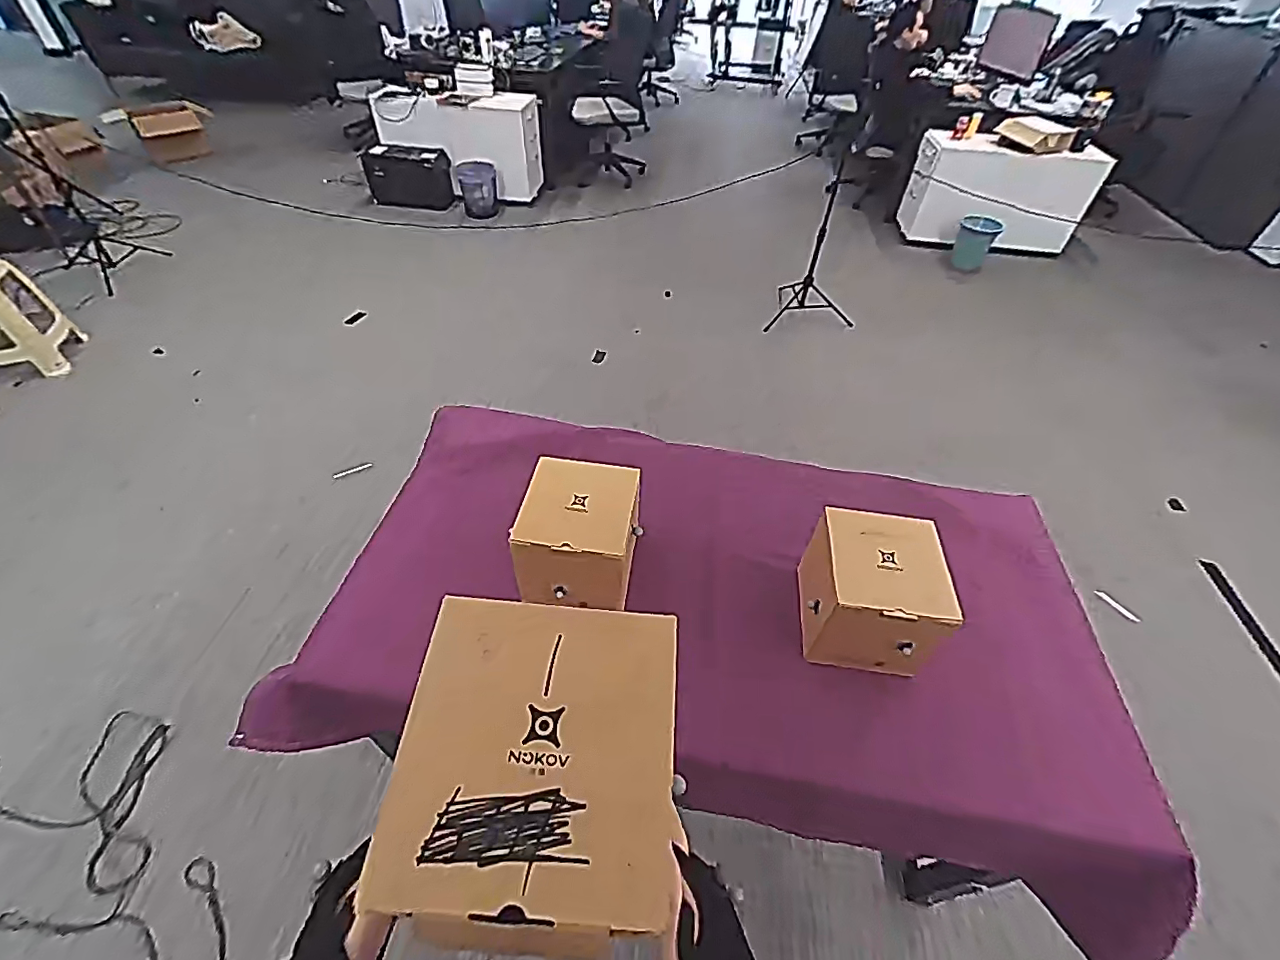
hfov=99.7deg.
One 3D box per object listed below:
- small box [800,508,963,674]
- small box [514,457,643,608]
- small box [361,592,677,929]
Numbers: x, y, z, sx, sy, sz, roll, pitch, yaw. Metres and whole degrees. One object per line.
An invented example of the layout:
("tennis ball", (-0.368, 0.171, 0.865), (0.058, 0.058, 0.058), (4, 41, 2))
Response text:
("small box", (0.348, 0.171, 0.818), (0.168, 0.176, 0.179), (8, 46, 4))
("small box", (-0.092, 0.090, 0.869), (0.168, 0.176, 0.179), (8, 47, 3))
("small box", (-0.066, 0.203, 0.398), (0.168, 0.176, 0.179), (6, 54, -1))
